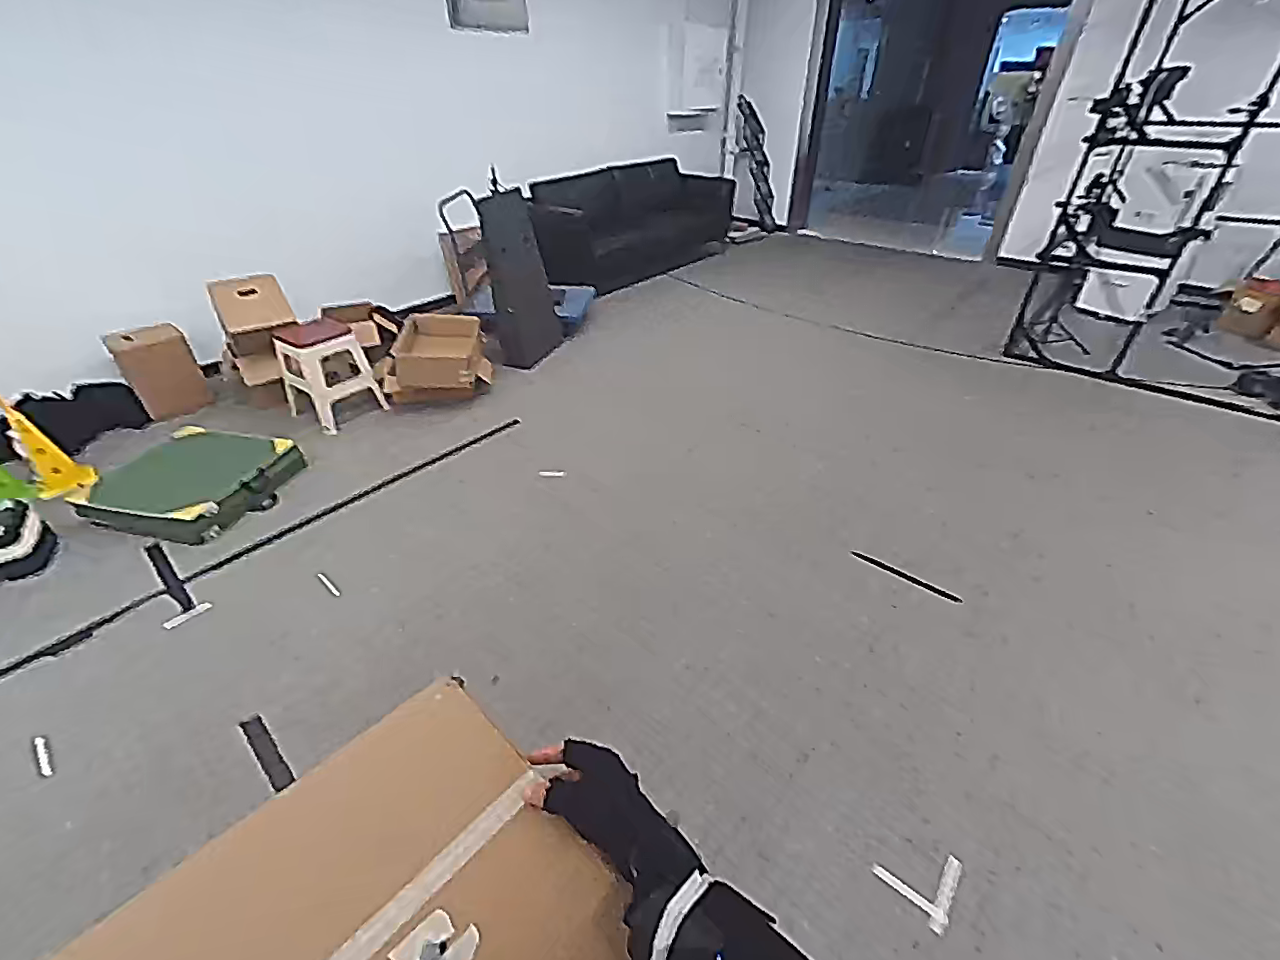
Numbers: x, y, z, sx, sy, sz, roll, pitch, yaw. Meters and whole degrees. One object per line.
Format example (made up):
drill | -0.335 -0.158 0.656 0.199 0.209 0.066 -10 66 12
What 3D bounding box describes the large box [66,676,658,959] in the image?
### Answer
large box | -0.235 0.486 0.498 0.320 0.320 0.408 33 46 30
